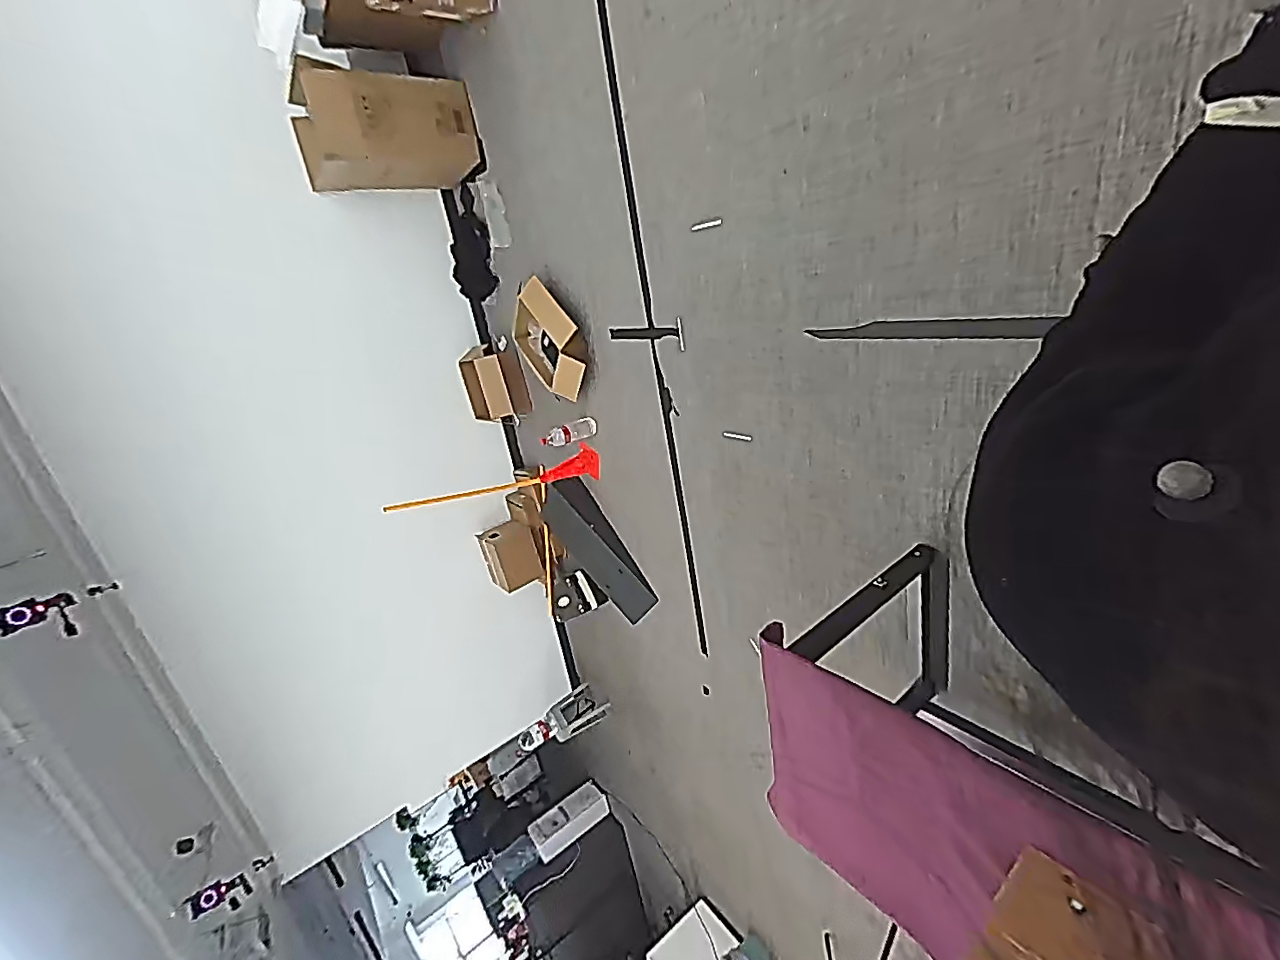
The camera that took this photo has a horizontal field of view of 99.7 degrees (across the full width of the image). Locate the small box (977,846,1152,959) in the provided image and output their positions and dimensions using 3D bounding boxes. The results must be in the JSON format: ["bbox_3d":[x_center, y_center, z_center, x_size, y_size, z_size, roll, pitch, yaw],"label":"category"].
[{"bbox_3d":[0.652,0.731,0.837,0.168,0.176,0.179,20,127,49],"label":"small box"}]
